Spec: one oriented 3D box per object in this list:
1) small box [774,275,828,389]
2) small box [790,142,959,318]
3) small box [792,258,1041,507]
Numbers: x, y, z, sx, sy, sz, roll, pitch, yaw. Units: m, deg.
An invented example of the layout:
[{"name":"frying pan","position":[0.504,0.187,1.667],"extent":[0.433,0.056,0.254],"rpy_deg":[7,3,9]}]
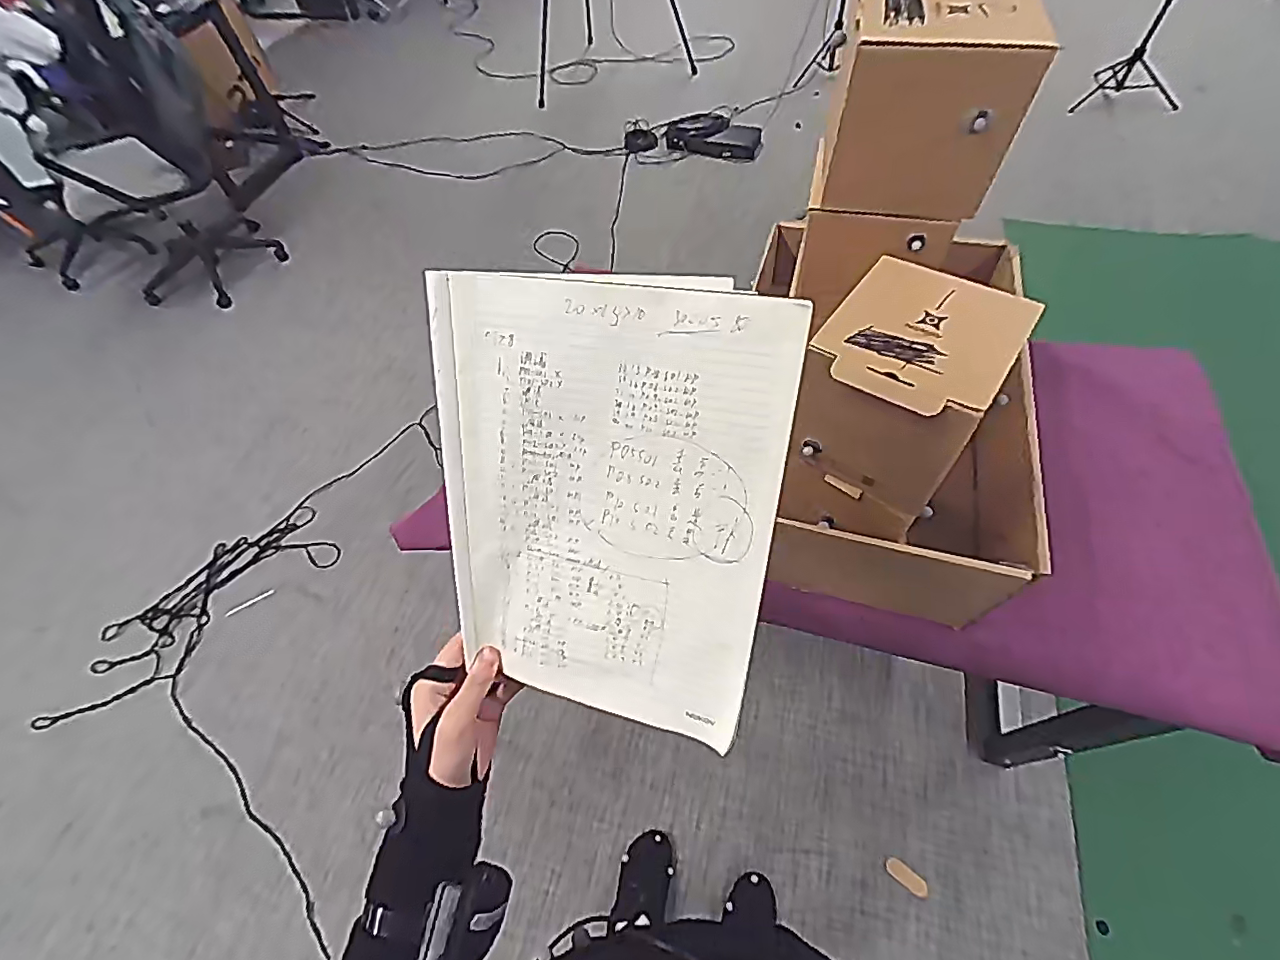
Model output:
[{"name":"small box","position":[0.320,-0.252,0.884],"extent":[0.168,0.176,0.179],"rpy_deg":[13,60,13]},{"name":"small box","position":[0.311,-0.335,0.746],"extent":[0.179,0.176,0.168],"rpy_deg":[10,60,12]},{"name":"small box","position":[0.281,-0.102,0.587],"extent":[0.168,0.176,0.179],"rpy_deg":[31,63,24]}]
